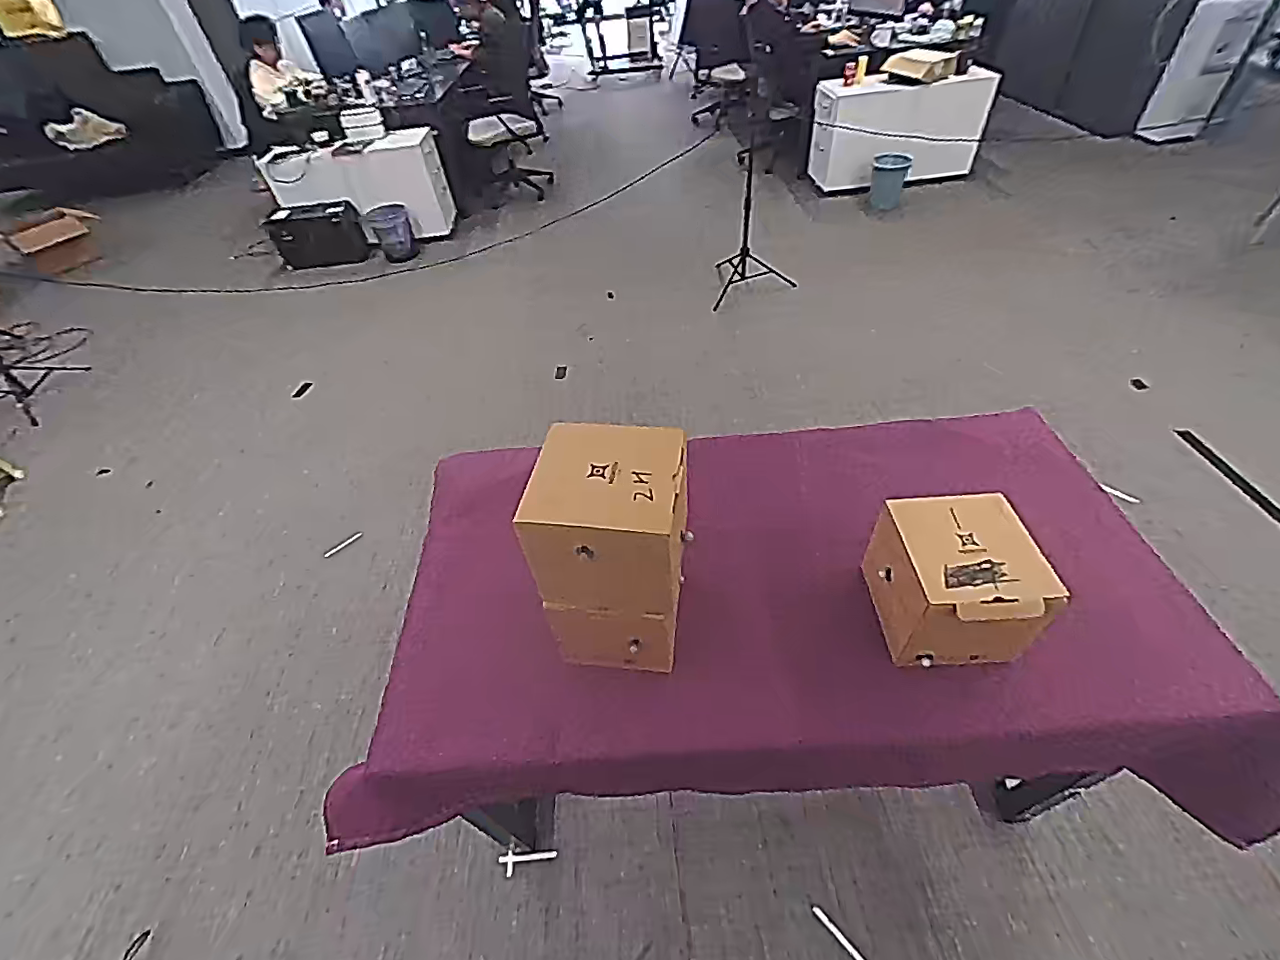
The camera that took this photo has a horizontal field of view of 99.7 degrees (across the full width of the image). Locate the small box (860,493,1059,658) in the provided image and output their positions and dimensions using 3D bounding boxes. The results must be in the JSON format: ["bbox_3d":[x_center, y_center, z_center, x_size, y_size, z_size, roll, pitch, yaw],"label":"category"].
[{"bbox_3d":[0.432,0.141,0.768,0.168,0.176,0.179,-3,45,3],"label":"small box"}]

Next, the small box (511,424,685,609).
[{"bbox_3d":[-0.038,0.048,0.685,0.179,0.176,0.168,4,48,9],"label":"small box"}]

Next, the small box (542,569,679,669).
[{"bbox_3d":[-0.031,0.162,0.803,0.168,0.176,0.179,3,47,8],"label":"small box"}]
